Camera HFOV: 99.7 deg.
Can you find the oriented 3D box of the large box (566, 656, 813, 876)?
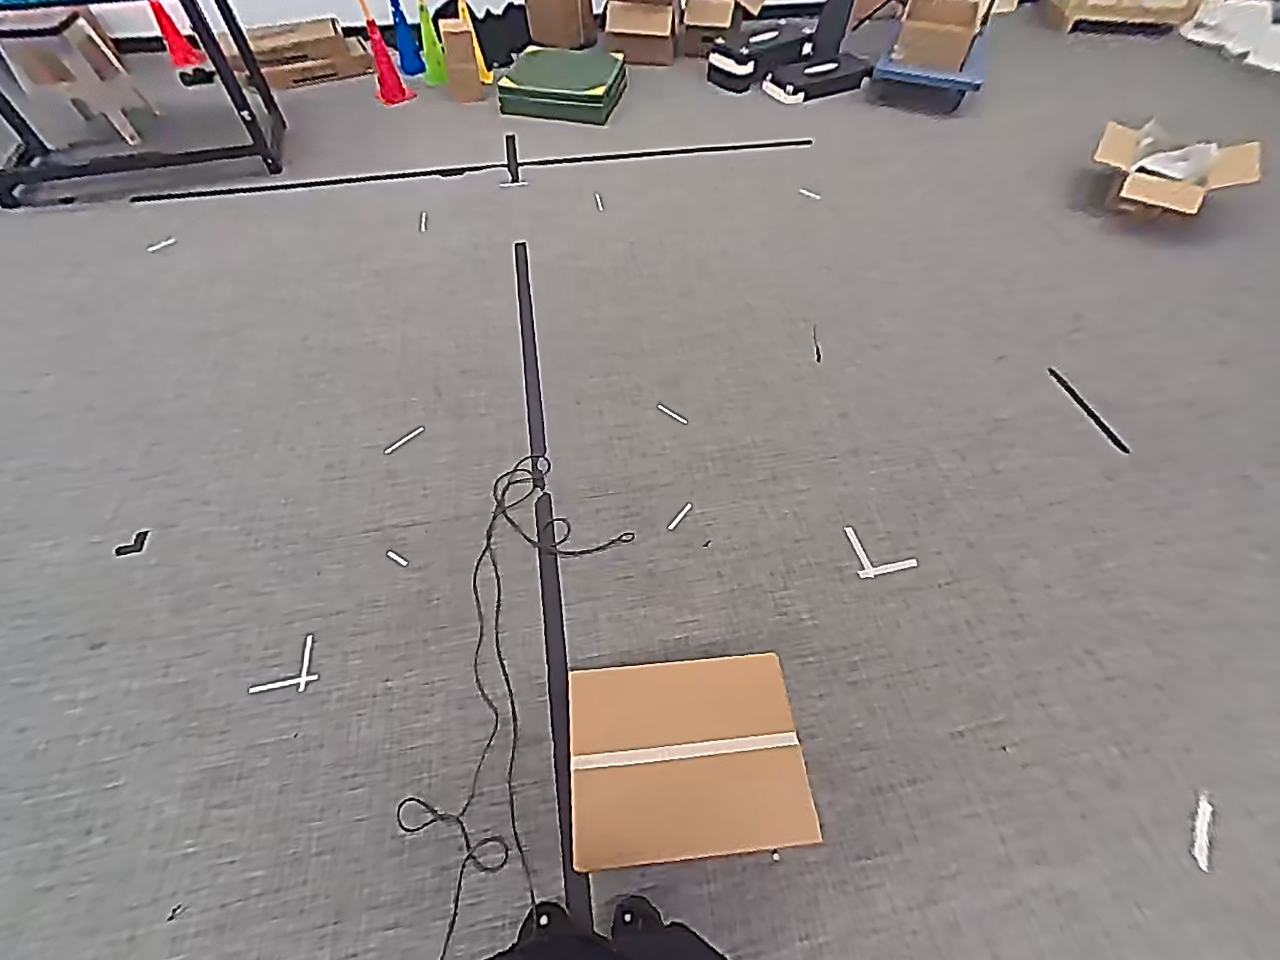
[{"bbox_3d":[0.072,0.568,1.074,0.408,0.320,0.320,-4,54,-4],"label":"large box"}]
